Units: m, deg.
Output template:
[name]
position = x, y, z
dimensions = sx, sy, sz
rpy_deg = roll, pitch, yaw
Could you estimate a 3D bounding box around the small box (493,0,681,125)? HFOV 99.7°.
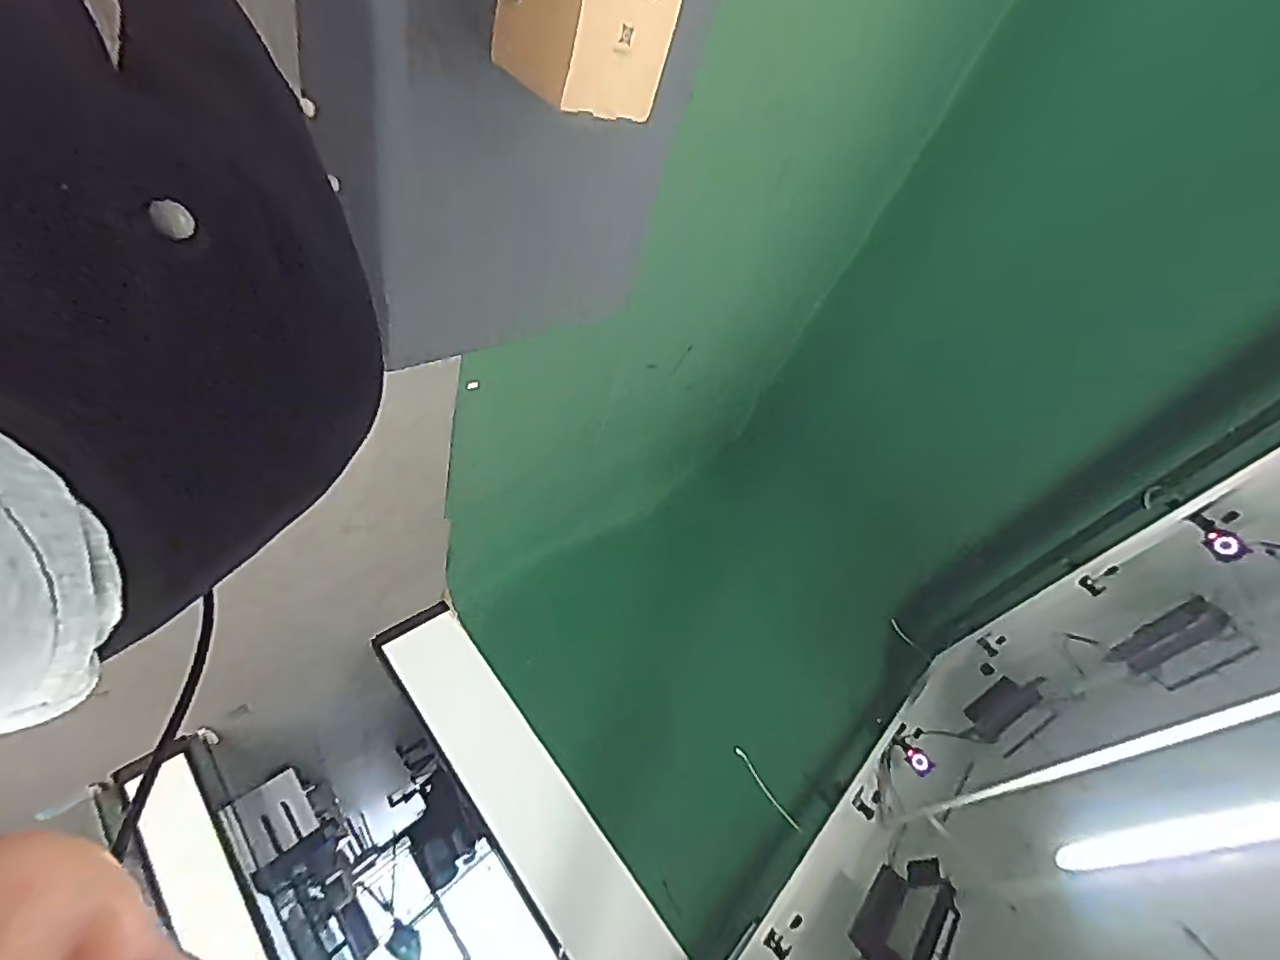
[small box]
position = -0.077, -0.617, 0.724
dimensions = 0.168, 0.176, 0.179
rpy_deg = -25, 154, -40
